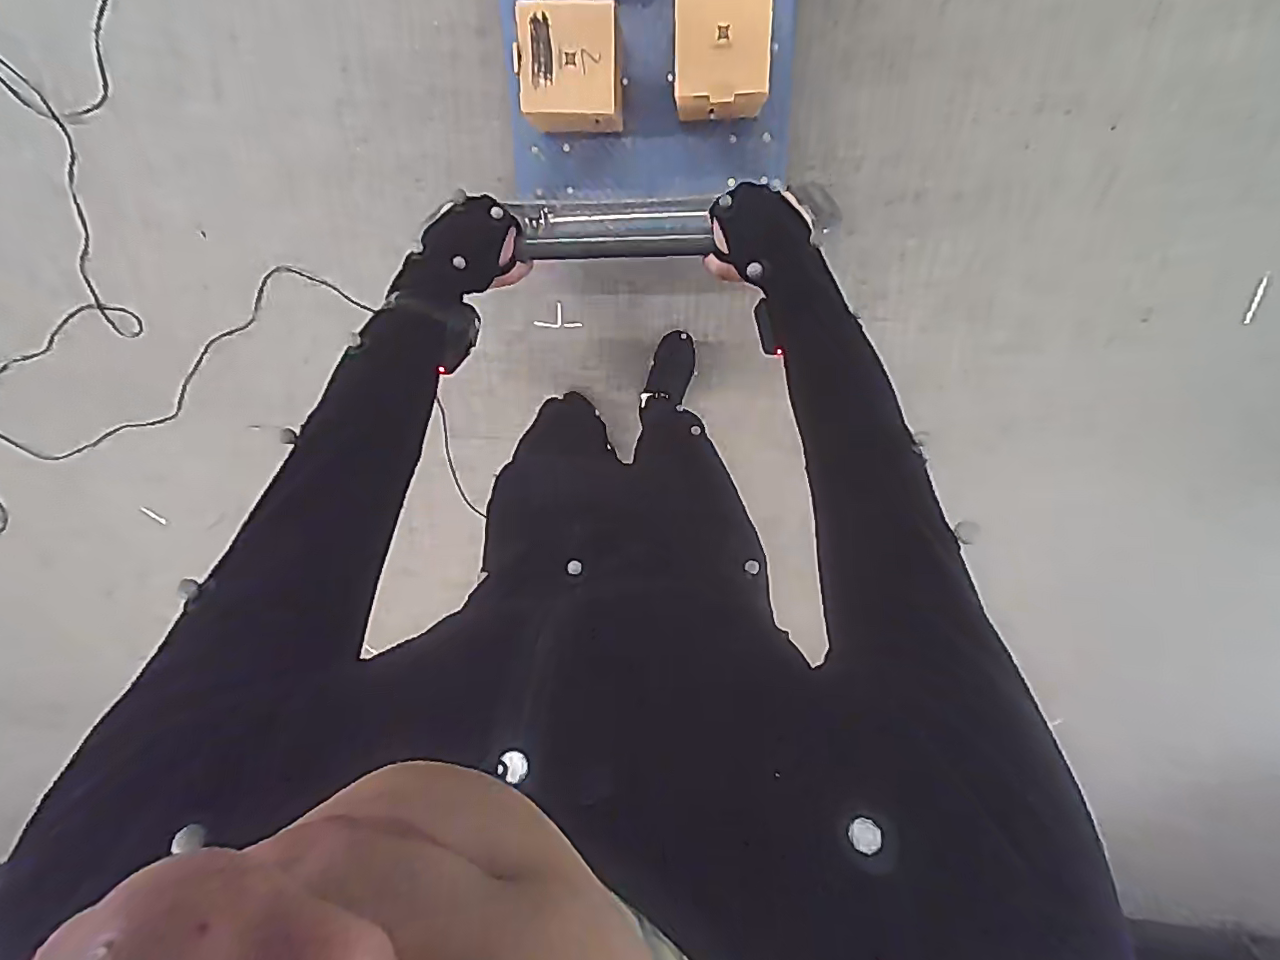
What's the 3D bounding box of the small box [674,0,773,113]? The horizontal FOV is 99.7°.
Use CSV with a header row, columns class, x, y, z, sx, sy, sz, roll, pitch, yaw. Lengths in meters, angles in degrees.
class,x,y,z,sx,sy,sz,roll,pitch,yaw
small box,0.146,-0.801,0.997,0.168,0.176,0.179,0,114,4
